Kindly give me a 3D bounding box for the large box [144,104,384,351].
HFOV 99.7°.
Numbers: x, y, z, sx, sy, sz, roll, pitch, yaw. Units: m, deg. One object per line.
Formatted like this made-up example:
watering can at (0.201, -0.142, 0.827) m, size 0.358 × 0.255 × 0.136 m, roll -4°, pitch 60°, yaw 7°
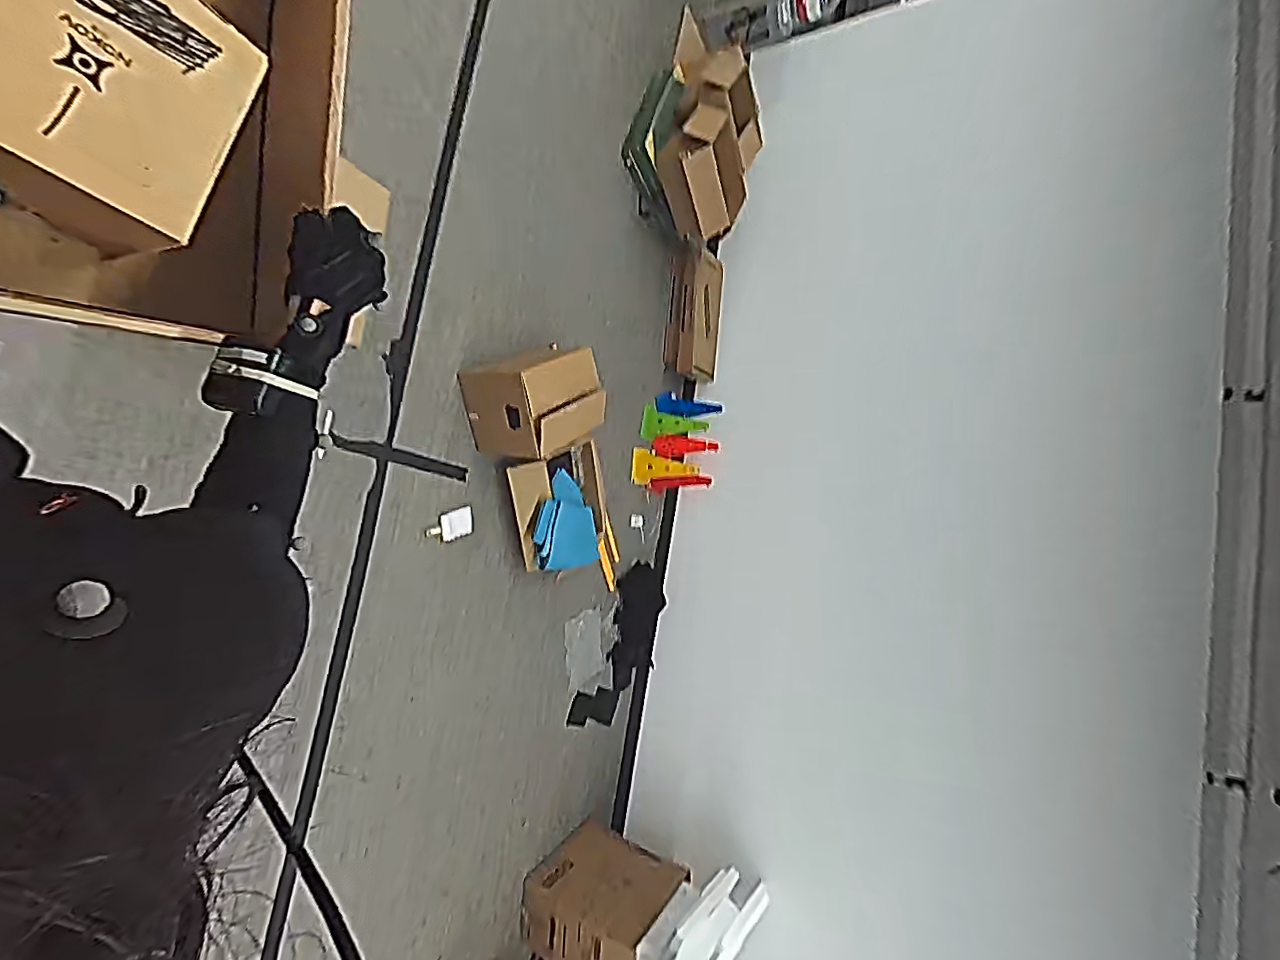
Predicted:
large box at (-0.854, -0.542, 1.246) m, size 0.320 × 0.320 × 0.408 m, roll 17°, pitch 81°, yaw -59°
